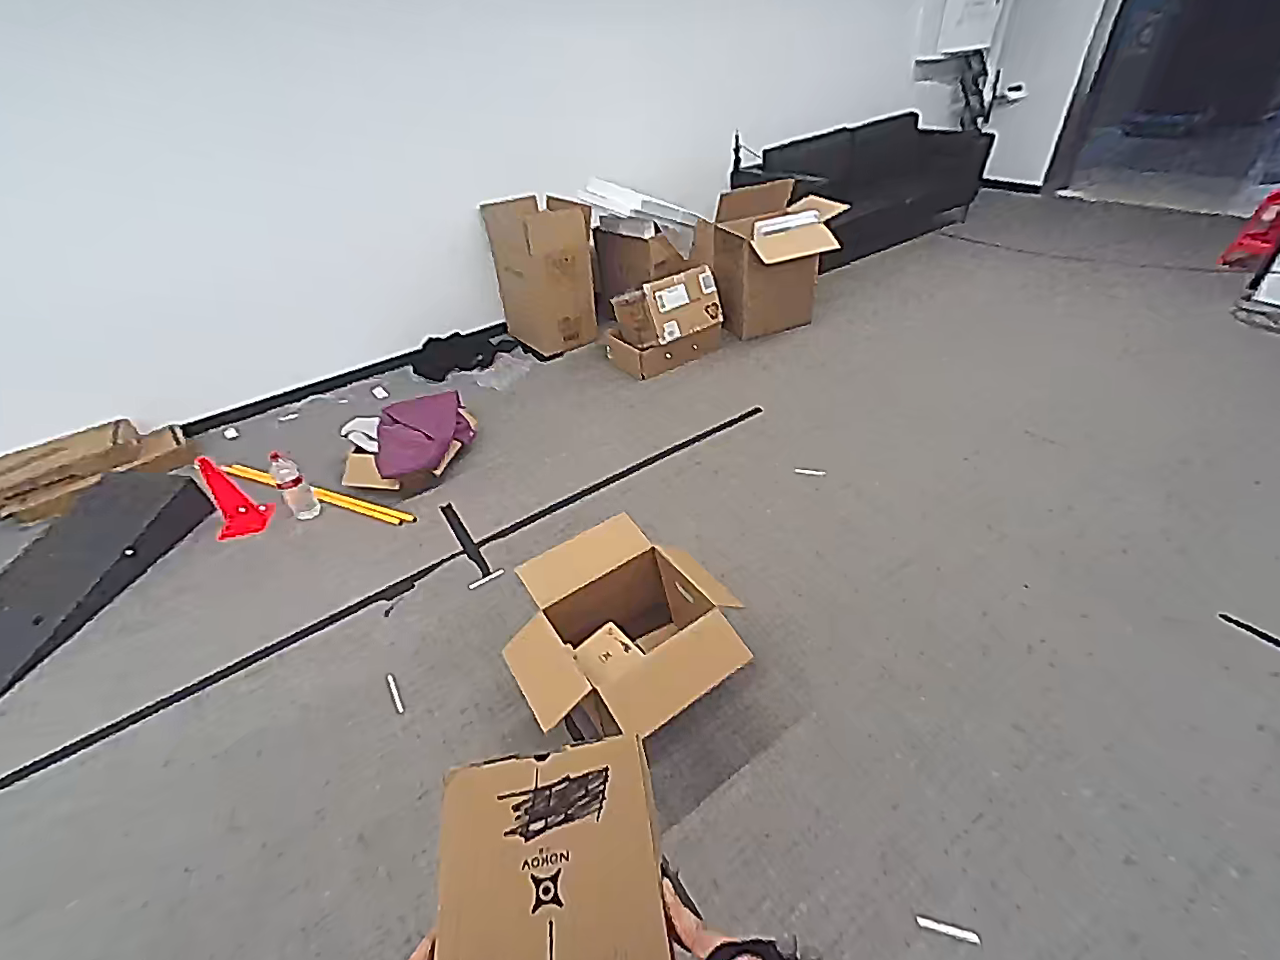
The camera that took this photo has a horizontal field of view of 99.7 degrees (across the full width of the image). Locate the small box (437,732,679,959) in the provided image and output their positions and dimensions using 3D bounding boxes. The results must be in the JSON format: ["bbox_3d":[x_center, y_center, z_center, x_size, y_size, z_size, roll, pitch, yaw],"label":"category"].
[{"bbox_3d":[-0.061,0.342,0.465,0.168,0.176,0.179,-10,52,-3],"label":"small box"}]
